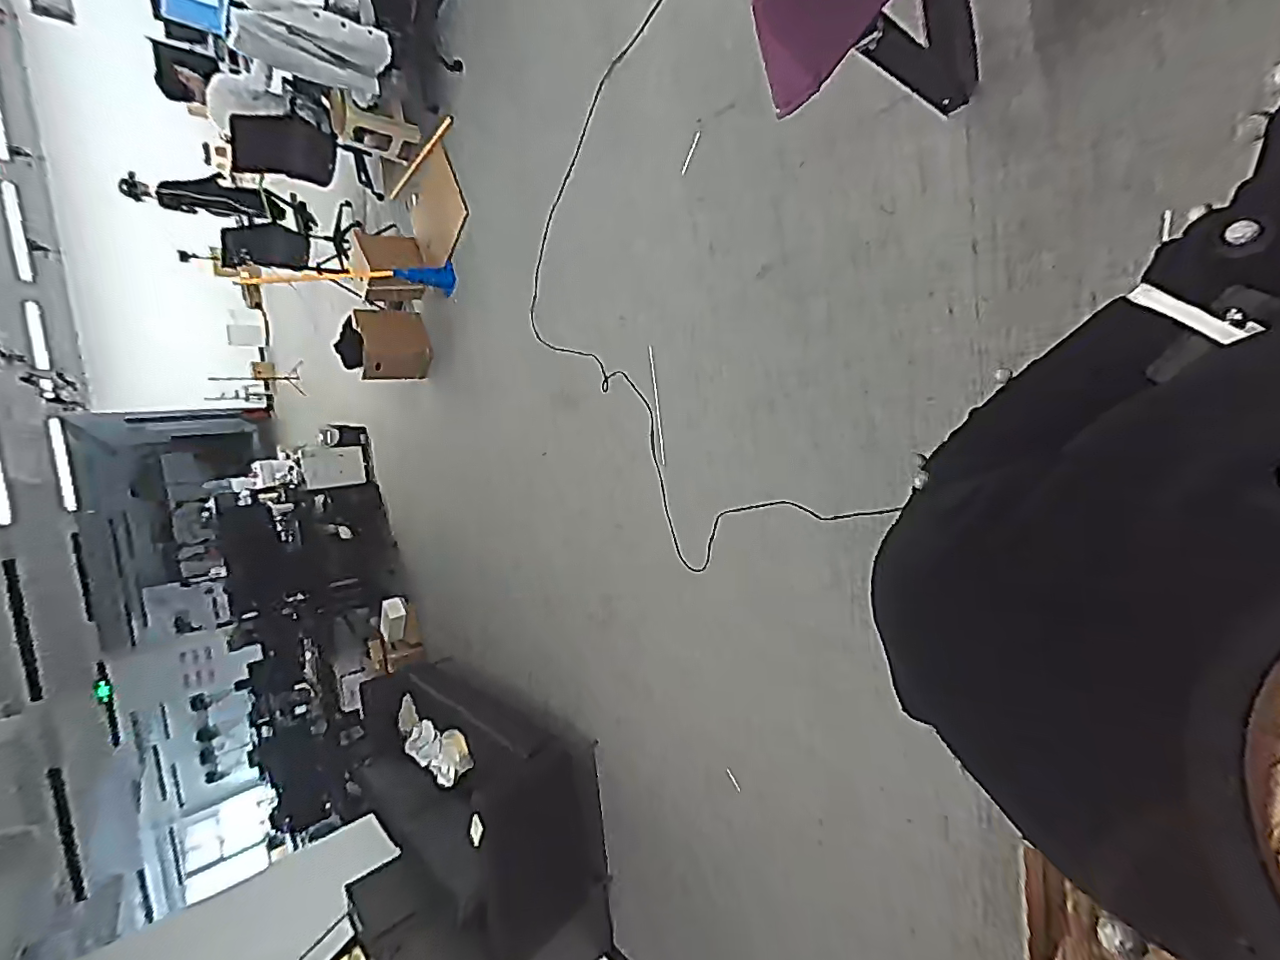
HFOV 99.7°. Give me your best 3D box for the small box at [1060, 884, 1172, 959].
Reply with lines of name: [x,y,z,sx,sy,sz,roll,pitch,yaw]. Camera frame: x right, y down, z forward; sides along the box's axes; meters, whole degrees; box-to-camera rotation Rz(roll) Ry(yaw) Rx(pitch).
small box: [1.046,1.052,1.190,0.168,0.176,0.179,0,97,49]

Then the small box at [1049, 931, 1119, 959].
small box: [0.922,1.075,1.084,0.168,0.176,0.179,1,98,49]
